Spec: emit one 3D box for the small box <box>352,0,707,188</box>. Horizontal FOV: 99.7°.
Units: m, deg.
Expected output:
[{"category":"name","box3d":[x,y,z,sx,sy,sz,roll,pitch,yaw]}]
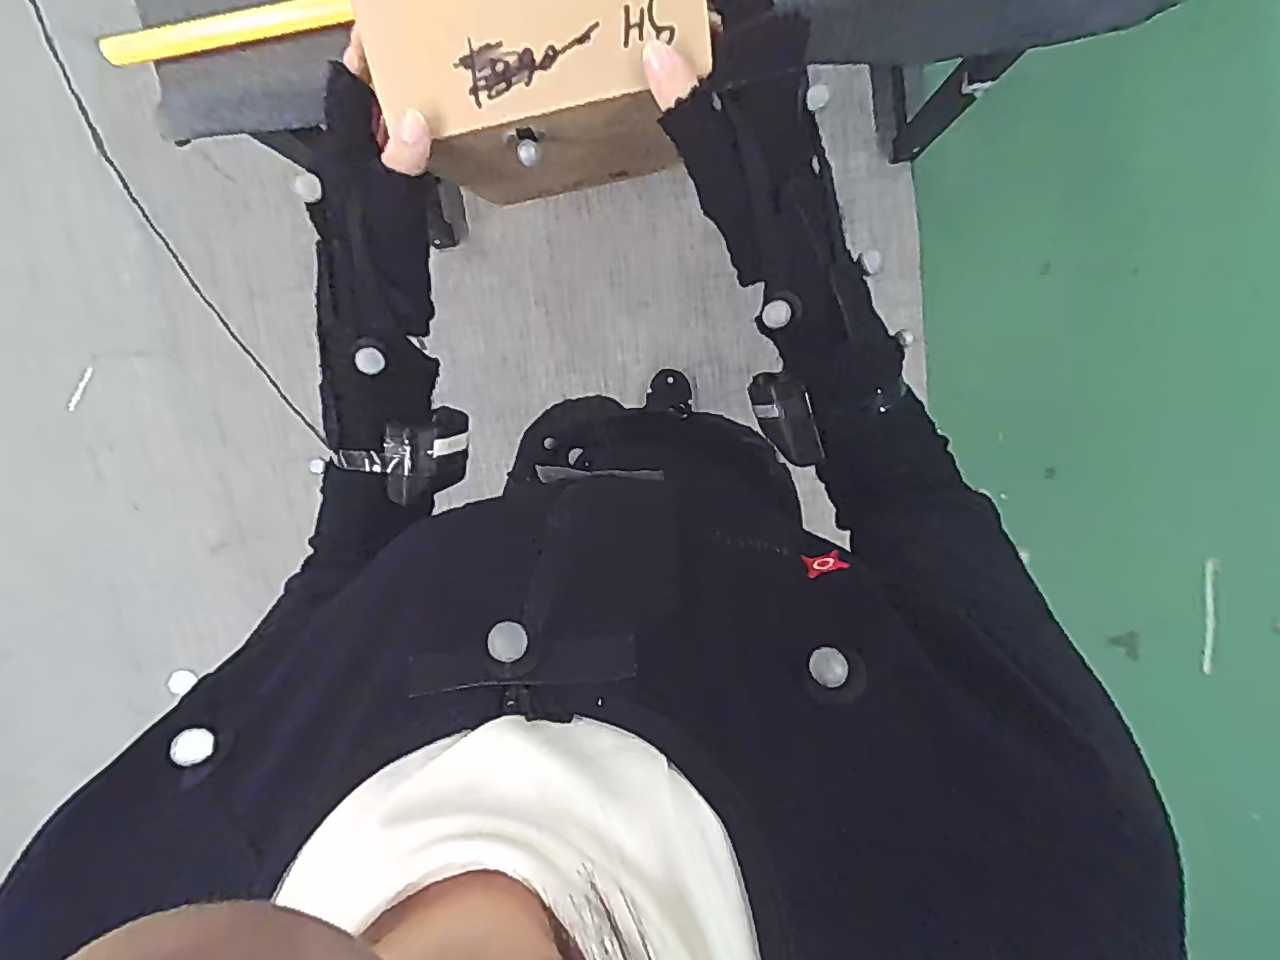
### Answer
[{"category":"small box","box3d":[-0.058,-0.298,0.315,0.168,0.176,0.179,-9,106,7]}]
